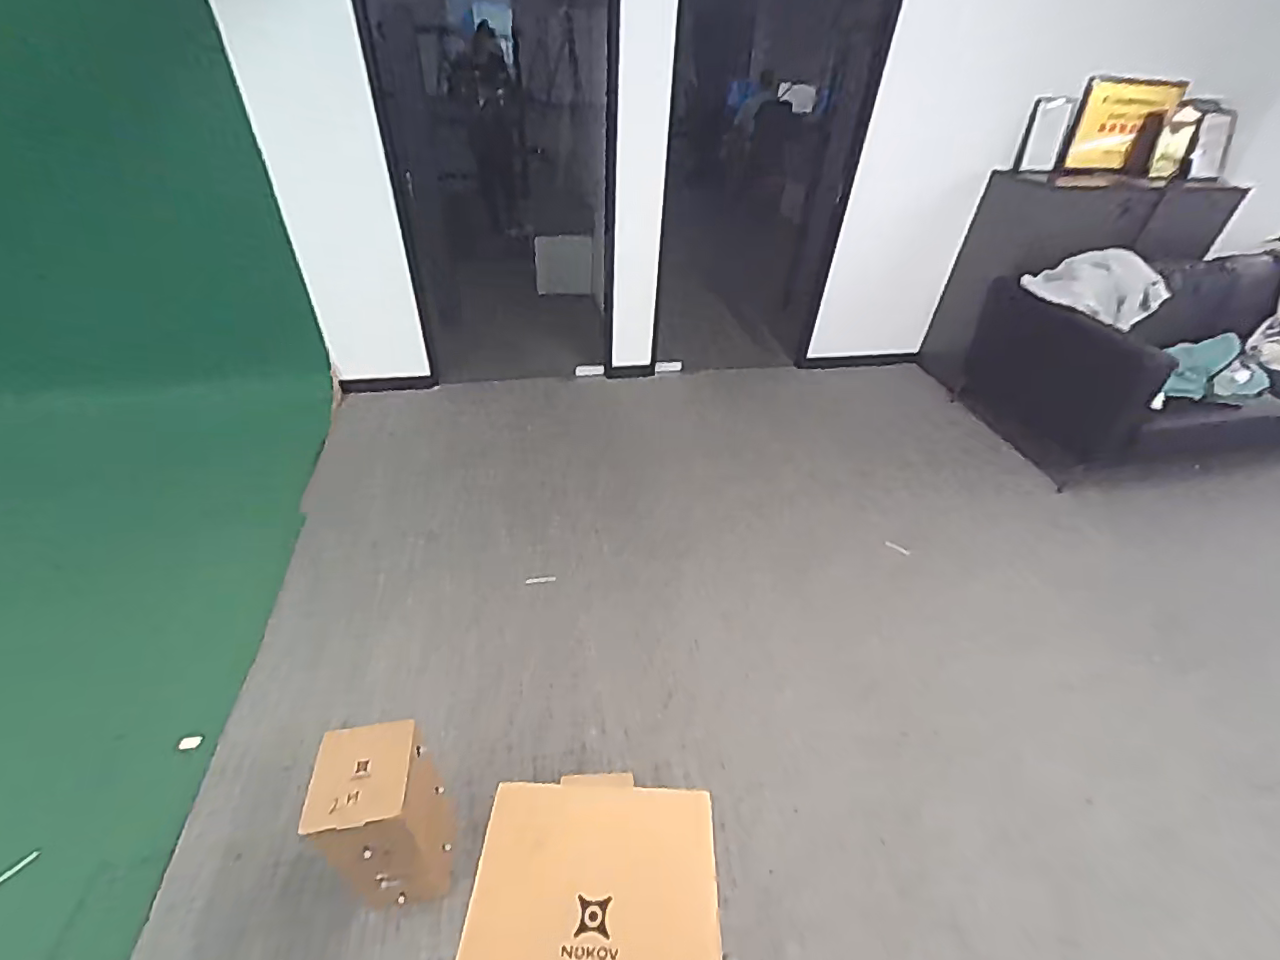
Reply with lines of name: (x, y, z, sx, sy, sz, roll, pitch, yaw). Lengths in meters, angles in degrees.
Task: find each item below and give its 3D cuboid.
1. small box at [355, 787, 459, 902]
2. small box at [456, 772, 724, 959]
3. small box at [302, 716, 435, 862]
small box: (-0.513, 0.826, 1.220, 0.168, 0.176, 0.179, -2, 40, -7)
small box: (-0.031, 0.345, 0.392, 0.168, 0.176, 0.179, 2, 35, 1)
small box: (-0.491, 0.575, 1.010, 0.168, 0.176, 0.179, -5, 40, -8)
